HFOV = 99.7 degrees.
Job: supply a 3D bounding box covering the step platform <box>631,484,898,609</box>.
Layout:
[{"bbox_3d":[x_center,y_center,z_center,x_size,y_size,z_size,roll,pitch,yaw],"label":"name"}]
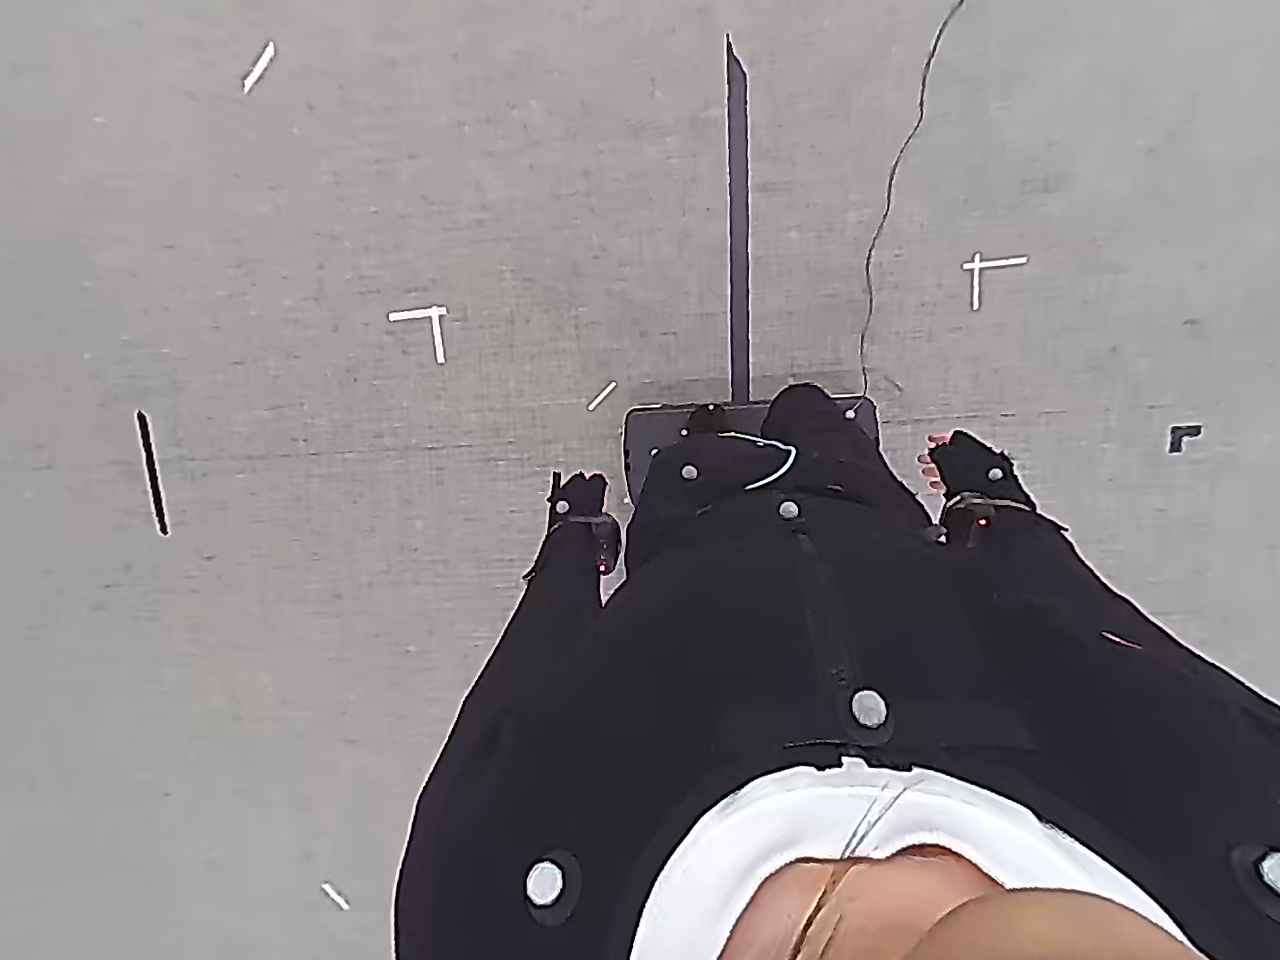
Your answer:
[{"bbox_3d":[0.318,0.180,1.453,0.684,0.204,0.286,-3,97,7],"label":"step platform"}]
